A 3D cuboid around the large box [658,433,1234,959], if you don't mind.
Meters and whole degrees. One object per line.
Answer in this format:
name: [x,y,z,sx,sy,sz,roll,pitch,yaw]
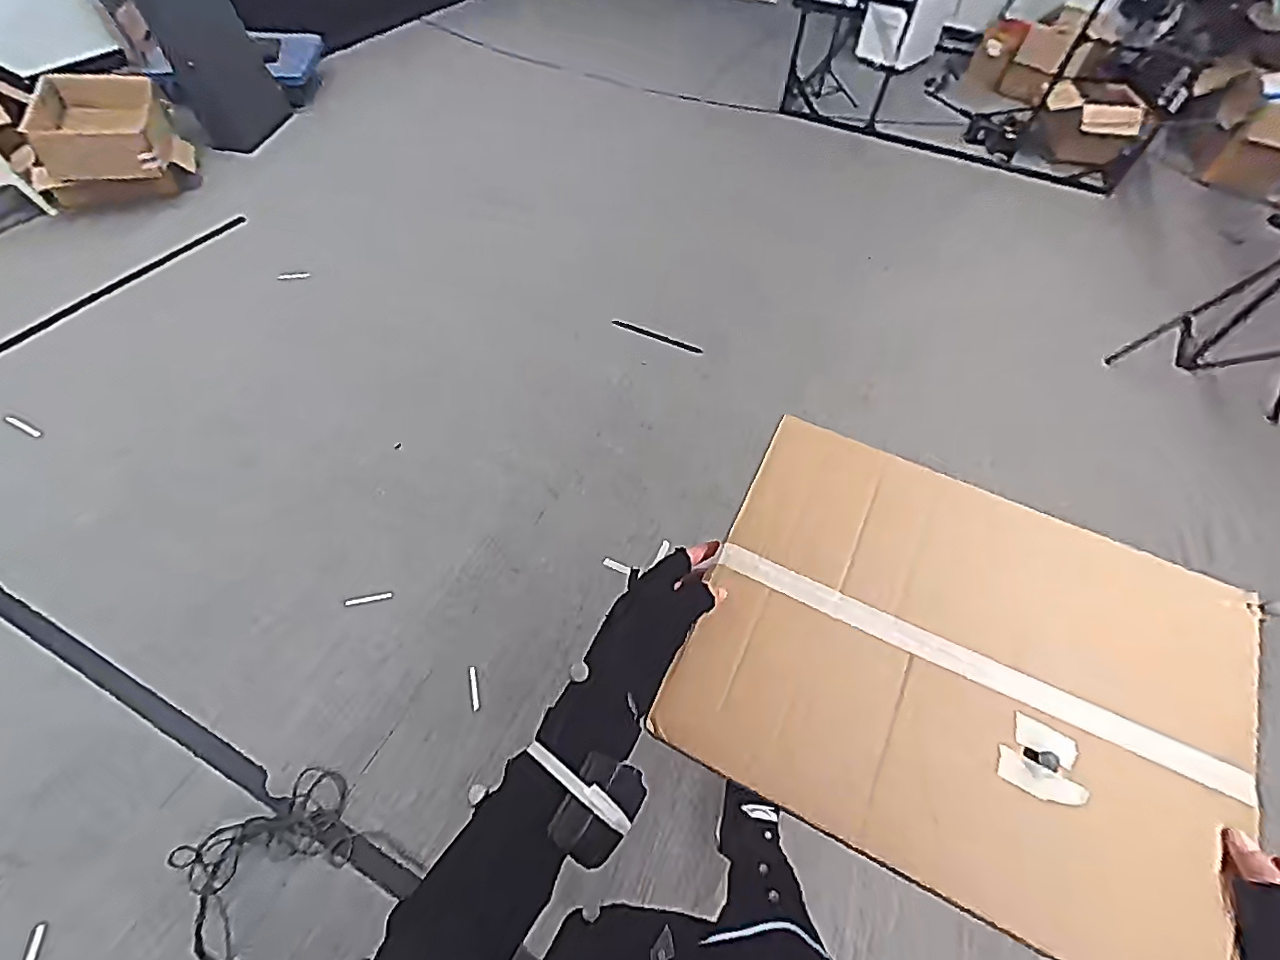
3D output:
large box: [0.259,0.212,0.578,0.408,0.320,0.320,24,69,12]
